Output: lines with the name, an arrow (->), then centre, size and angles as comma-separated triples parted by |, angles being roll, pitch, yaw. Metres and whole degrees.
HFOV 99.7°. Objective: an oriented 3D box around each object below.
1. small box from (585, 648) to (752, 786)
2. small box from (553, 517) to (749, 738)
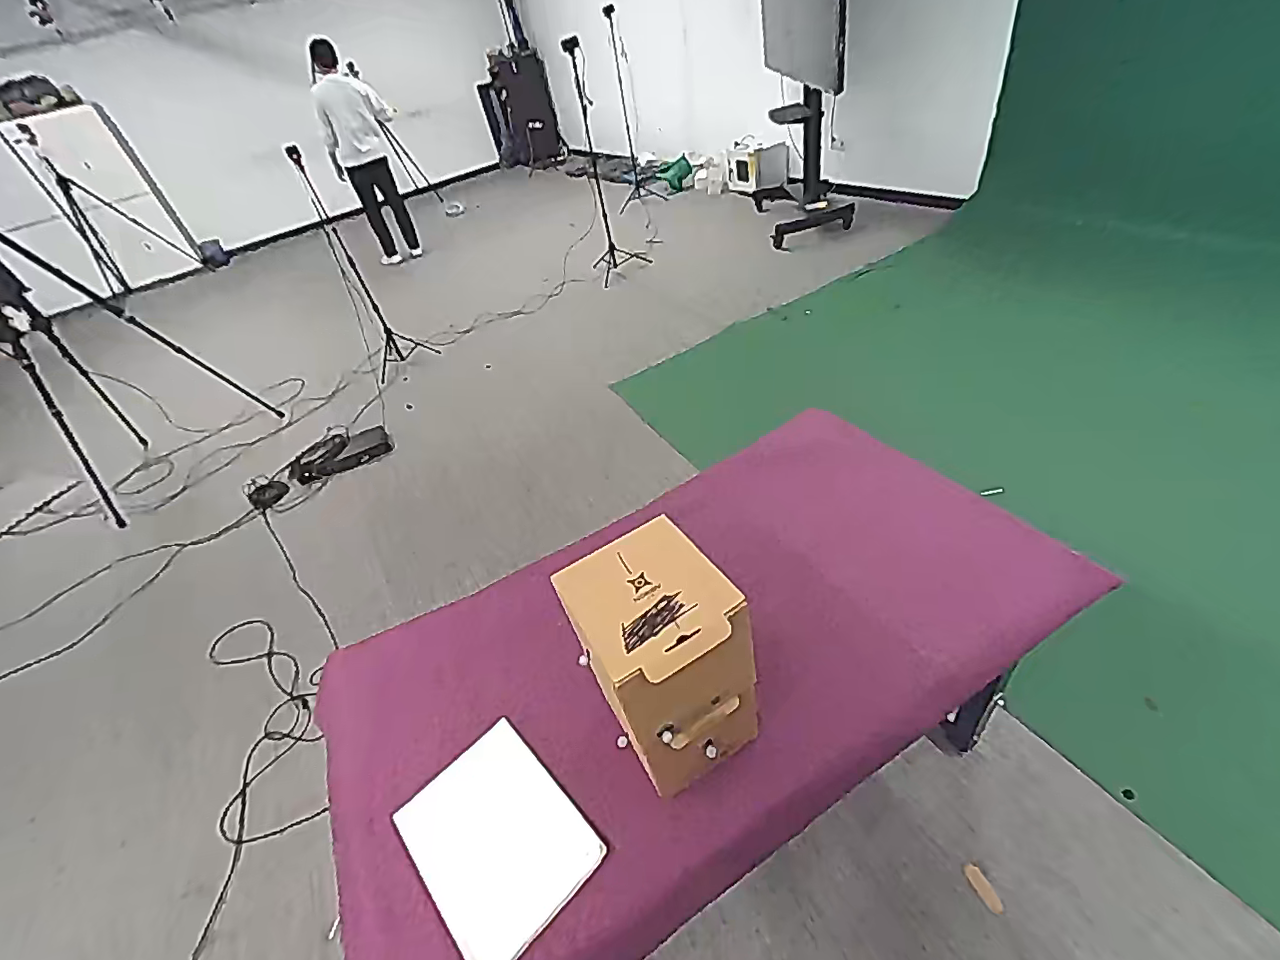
small box -> 0.046, 0.305, 0.777 | 0.168, 0.176, 0.179 | -27, 42, -16
small box -> 0.018, 0.185, 0.667 | 0.168, 0.176, 0.179 | -27, 40, -15
